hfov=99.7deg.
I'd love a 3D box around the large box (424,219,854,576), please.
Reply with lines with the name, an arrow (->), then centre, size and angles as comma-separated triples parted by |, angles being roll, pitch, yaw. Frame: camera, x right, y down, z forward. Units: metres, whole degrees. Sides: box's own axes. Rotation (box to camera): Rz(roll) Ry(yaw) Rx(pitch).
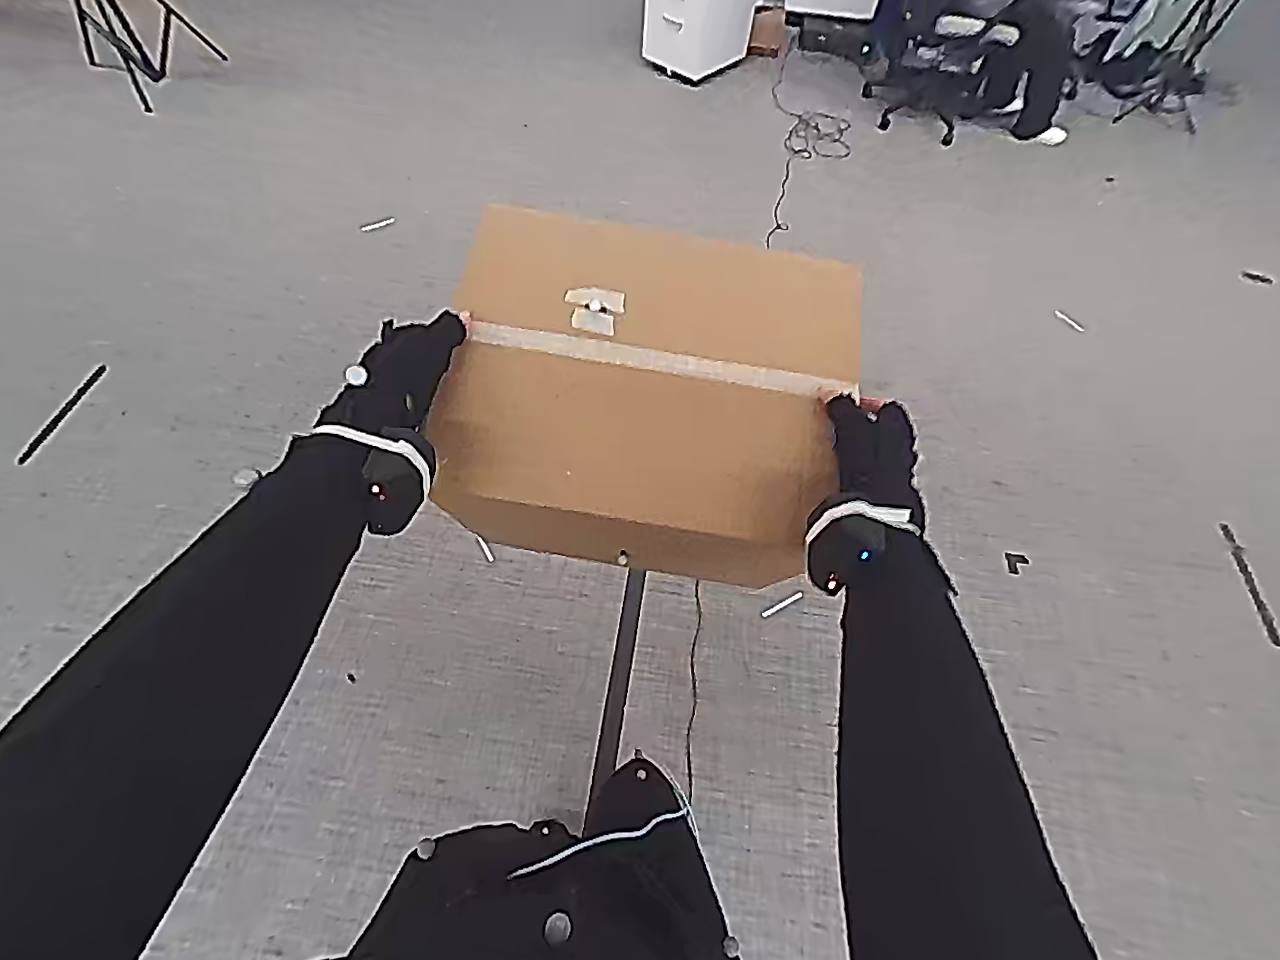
large box -> 0.011, -0.070, 0.684 | 0.408, 0.320, 0.320 | 9, 72, 0
